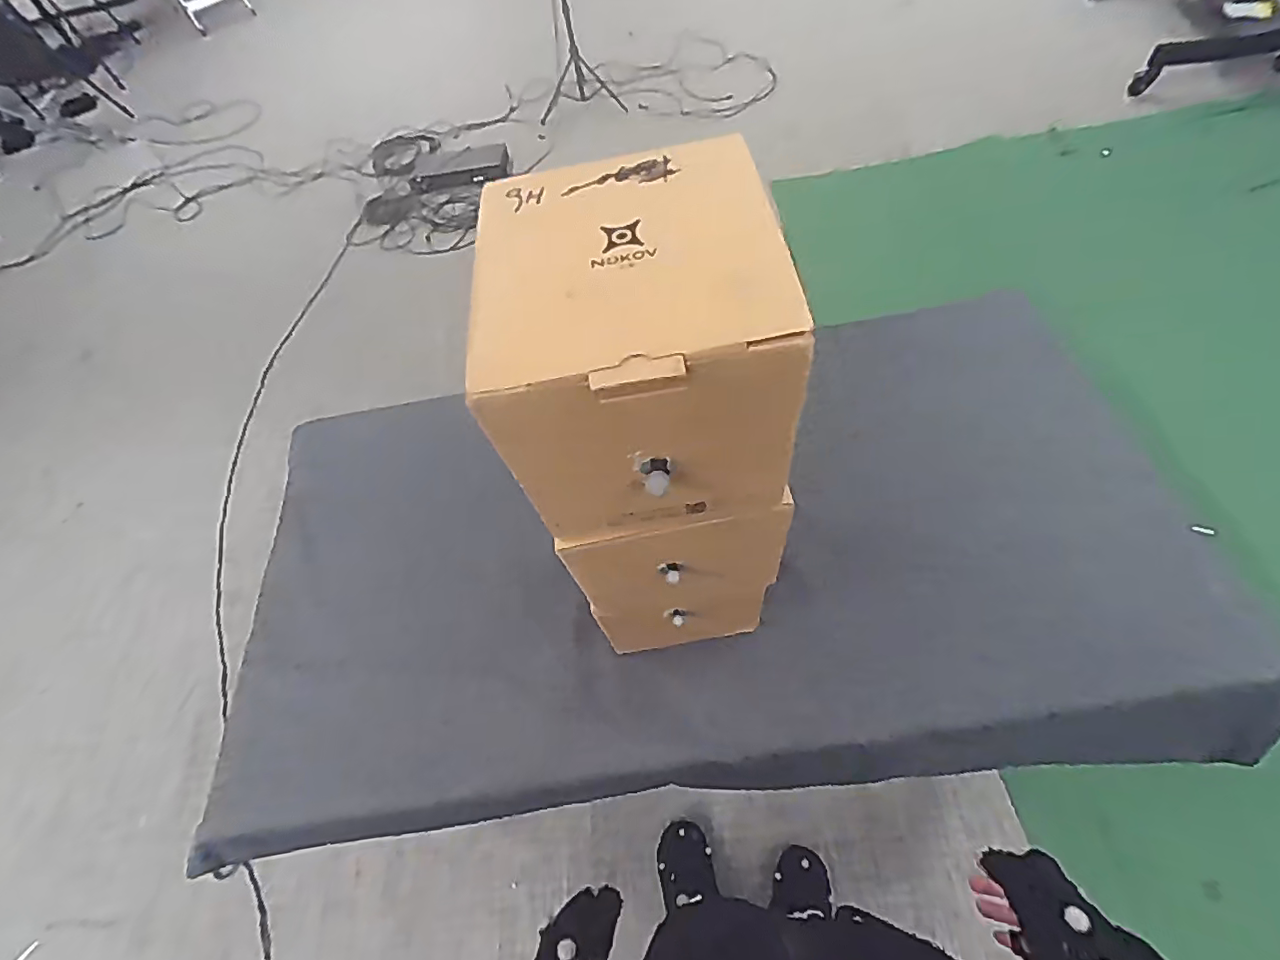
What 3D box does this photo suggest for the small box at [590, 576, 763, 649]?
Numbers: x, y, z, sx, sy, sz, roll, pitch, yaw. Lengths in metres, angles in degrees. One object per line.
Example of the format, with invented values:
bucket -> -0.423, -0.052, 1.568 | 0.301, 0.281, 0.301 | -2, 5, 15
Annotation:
small box -> 0.037, 0.090, 0.640 | 0.179, 0.176, 0.168 | -10, 59, 1

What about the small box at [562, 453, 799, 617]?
small box -> 0.024, 0.011, 0.497 | 0.179, 0.176, 0.168 | -13, 59, 0

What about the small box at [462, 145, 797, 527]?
small box -> -0.001, -0.079, 0.362 | 0.168, 0.176, 0.179 | -8, 60, 4
